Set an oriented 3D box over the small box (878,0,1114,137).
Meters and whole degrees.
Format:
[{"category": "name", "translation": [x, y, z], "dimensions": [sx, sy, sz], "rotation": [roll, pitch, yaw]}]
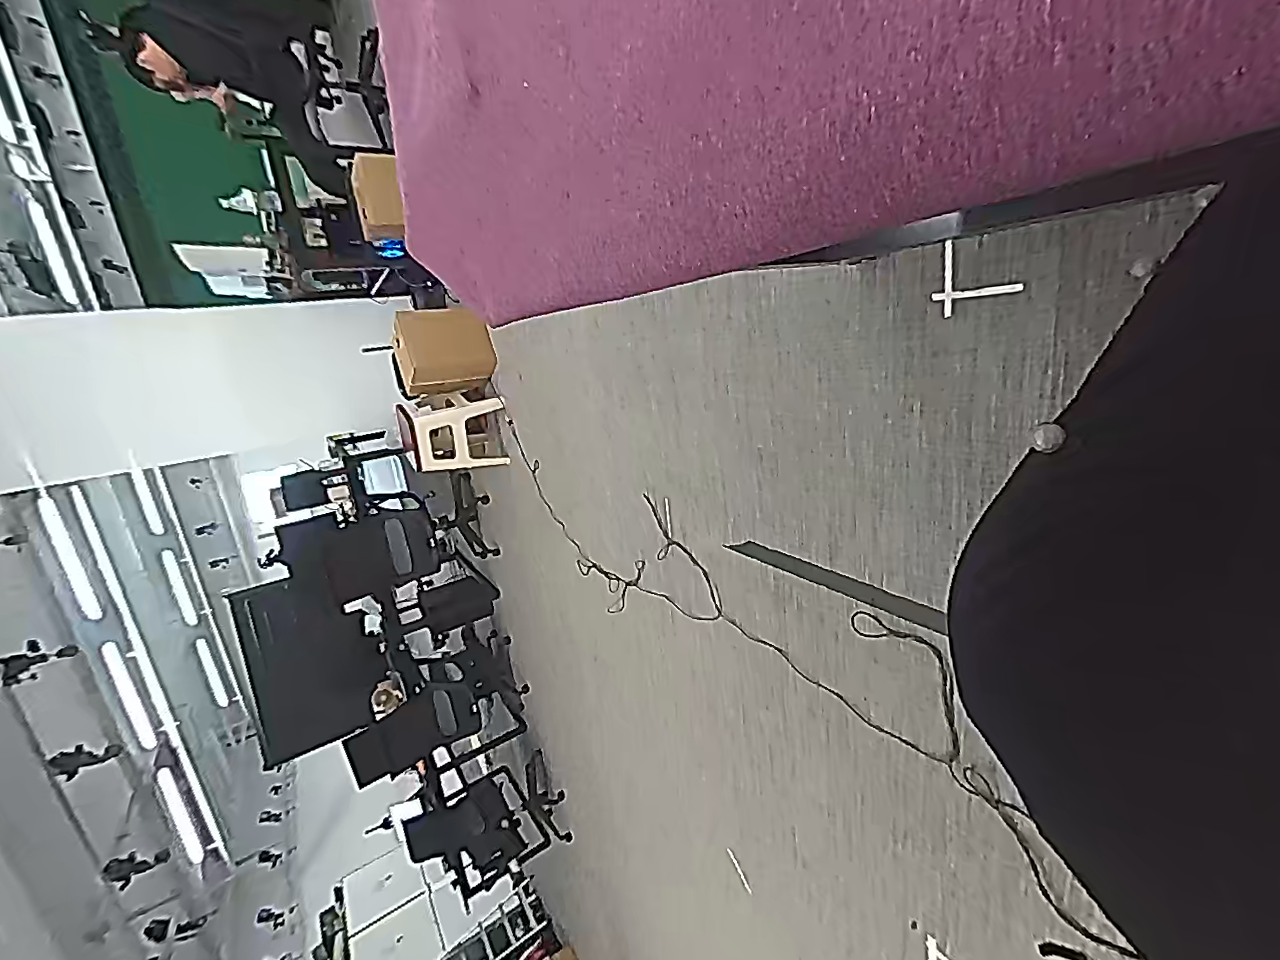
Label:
[{"category": "small box", "translation": [0.383, -0.497, 0.587], "dimensions": [0.168, 0.176, 0.179], "rotation": [16, 121, 56]}]
